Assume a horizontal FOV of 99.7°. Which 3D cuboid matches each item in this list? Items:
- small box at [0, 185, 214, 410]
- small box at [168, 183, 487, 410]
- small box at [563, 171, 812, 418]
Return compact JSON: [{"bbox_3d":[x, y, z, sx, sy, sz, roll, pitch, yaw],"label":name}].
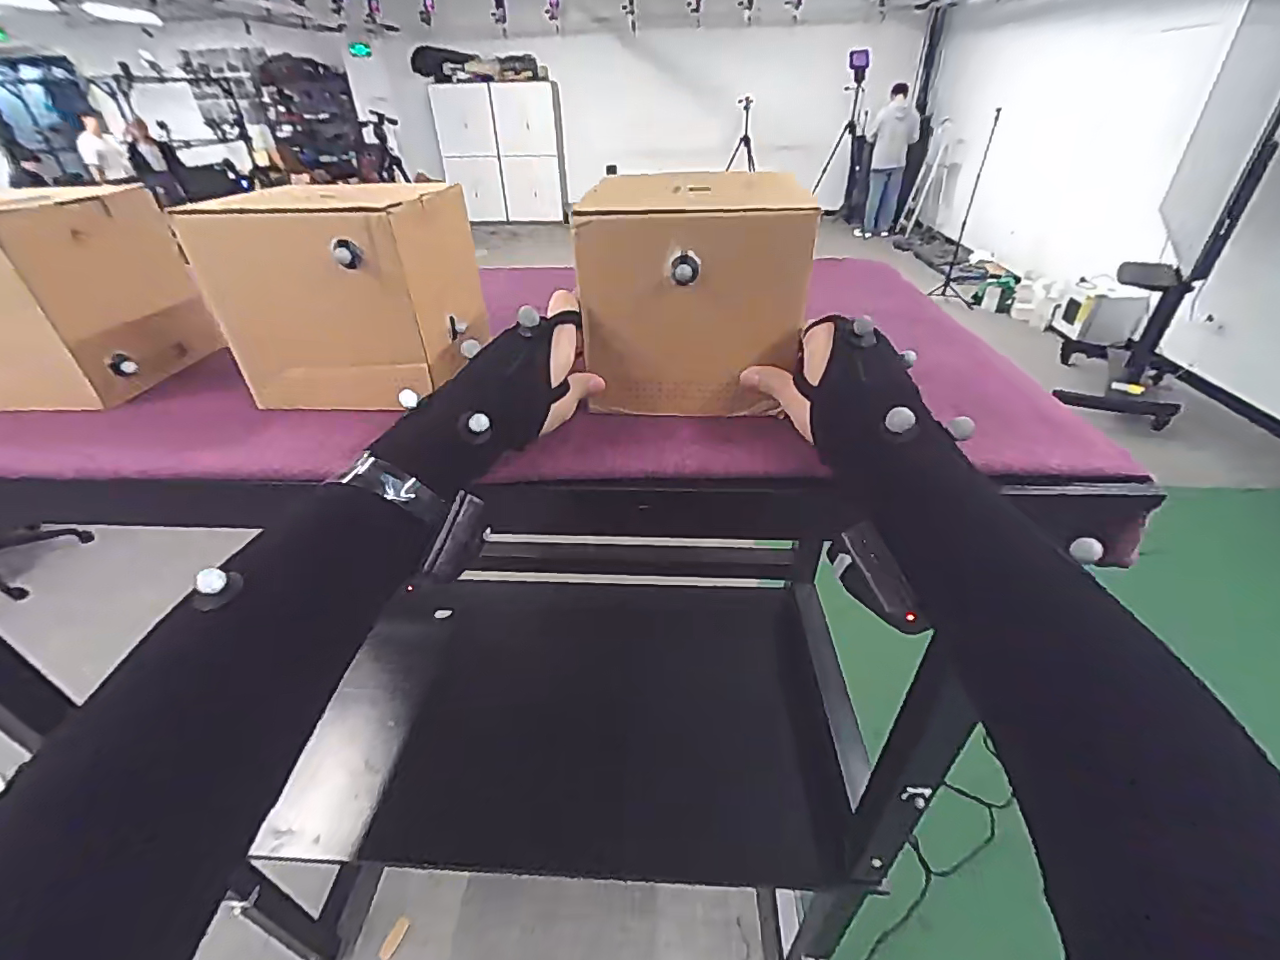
[{"bbox_3d":[-0.572,-0.175,0.518,0.179,0.176,0.168,-1,35,2],"label":"small box"},{"bbox_3d":[-0.263,-0.175,0.509,0.179,0.176,0.168,1,35,3],"label":"small box"},{"bbox_3d":[0.043,-0.167,0.482,0.179,0.176,0.168,3,38,6],"label":"small box"}]
